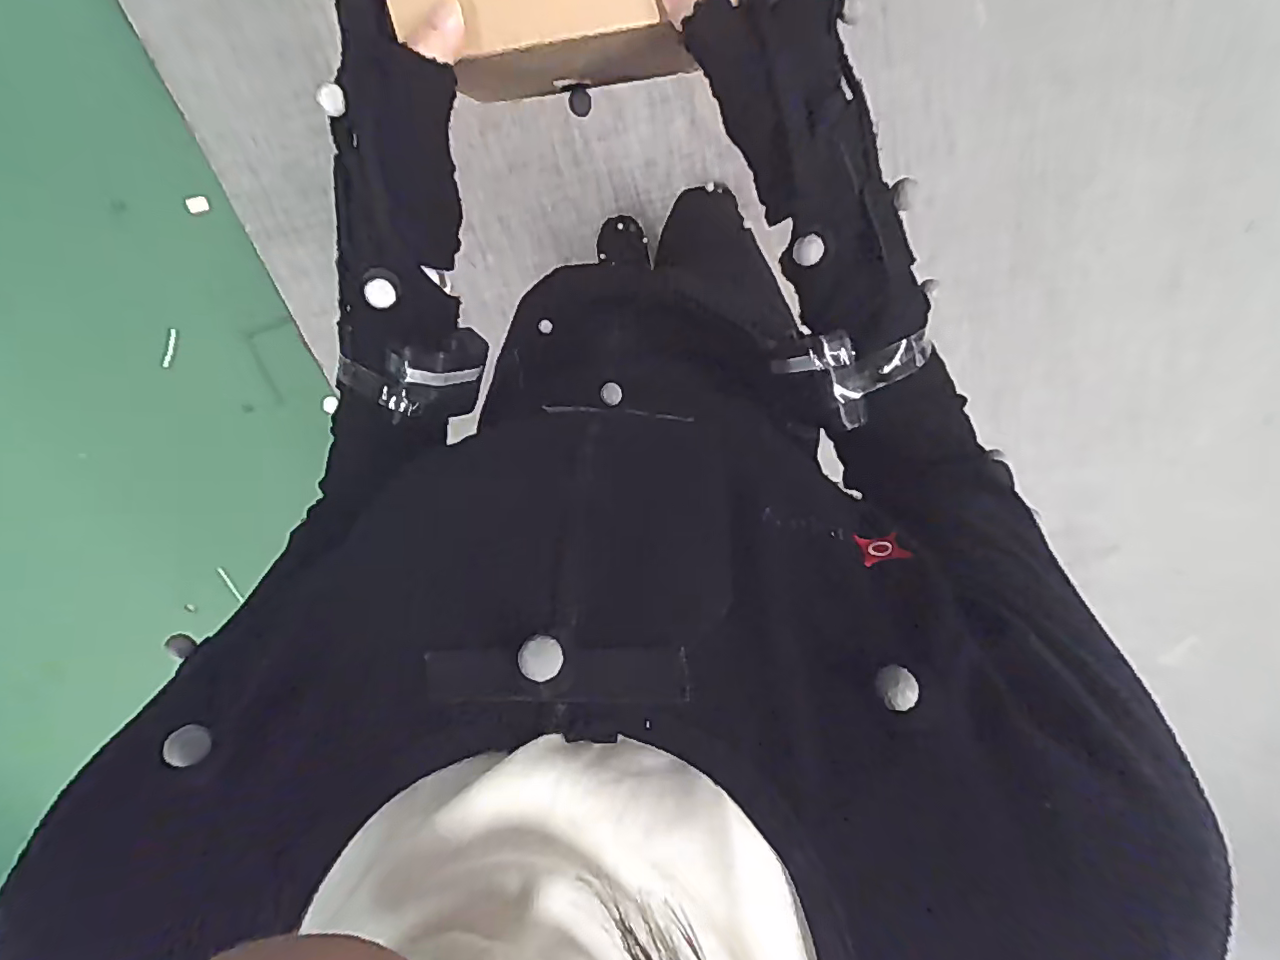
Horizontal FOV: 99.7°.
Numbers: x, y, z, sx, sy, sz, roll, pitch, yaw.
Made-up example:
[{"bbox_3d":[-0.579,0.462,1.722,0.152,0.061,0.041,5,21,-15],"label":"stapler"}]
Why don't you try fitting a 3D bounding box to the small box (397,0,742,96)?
[{"bbox_3d":[-0.042,-0.330,0.286,0.168,0.176,0.179,-6,119,4],"label":"small box"}]
